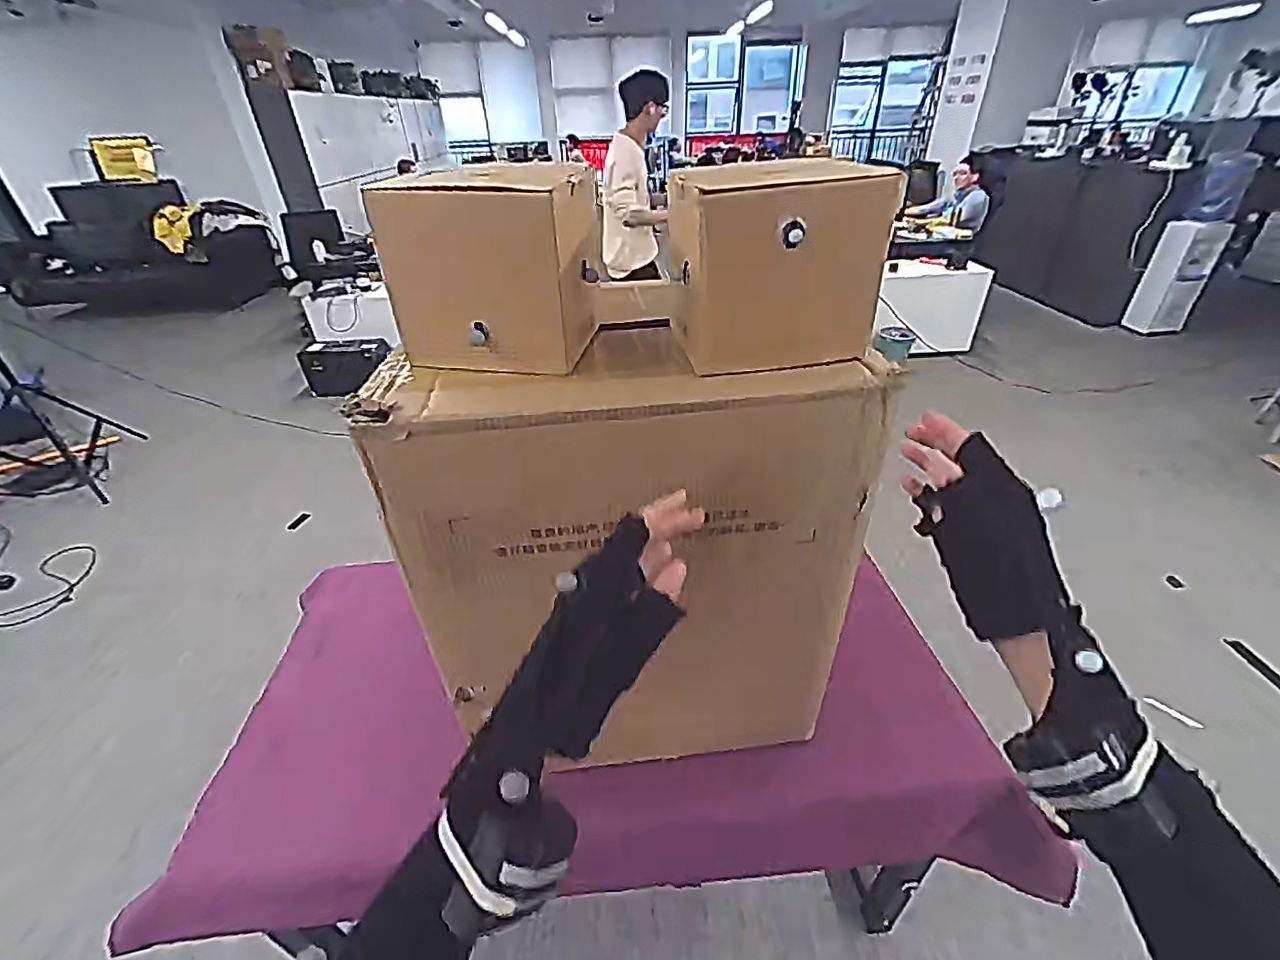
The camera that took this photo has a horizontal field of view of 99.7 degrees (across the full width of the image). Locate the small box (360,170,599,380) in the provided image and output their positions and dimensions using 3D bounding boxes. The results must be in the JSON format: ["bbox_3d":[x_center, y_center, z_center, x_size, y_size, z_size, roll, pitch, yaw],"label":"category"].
[{"bbox_3d":[-0.145,-0.216,0.567,0.179,0.176,0.168,5,36,8],"label":"small box"}]

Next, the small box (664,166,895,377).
[{"bbox_3d":[0.125,-0.215,0.556,0.179,0.176,0.168,-6,35,-4],"label":"small box"}]
